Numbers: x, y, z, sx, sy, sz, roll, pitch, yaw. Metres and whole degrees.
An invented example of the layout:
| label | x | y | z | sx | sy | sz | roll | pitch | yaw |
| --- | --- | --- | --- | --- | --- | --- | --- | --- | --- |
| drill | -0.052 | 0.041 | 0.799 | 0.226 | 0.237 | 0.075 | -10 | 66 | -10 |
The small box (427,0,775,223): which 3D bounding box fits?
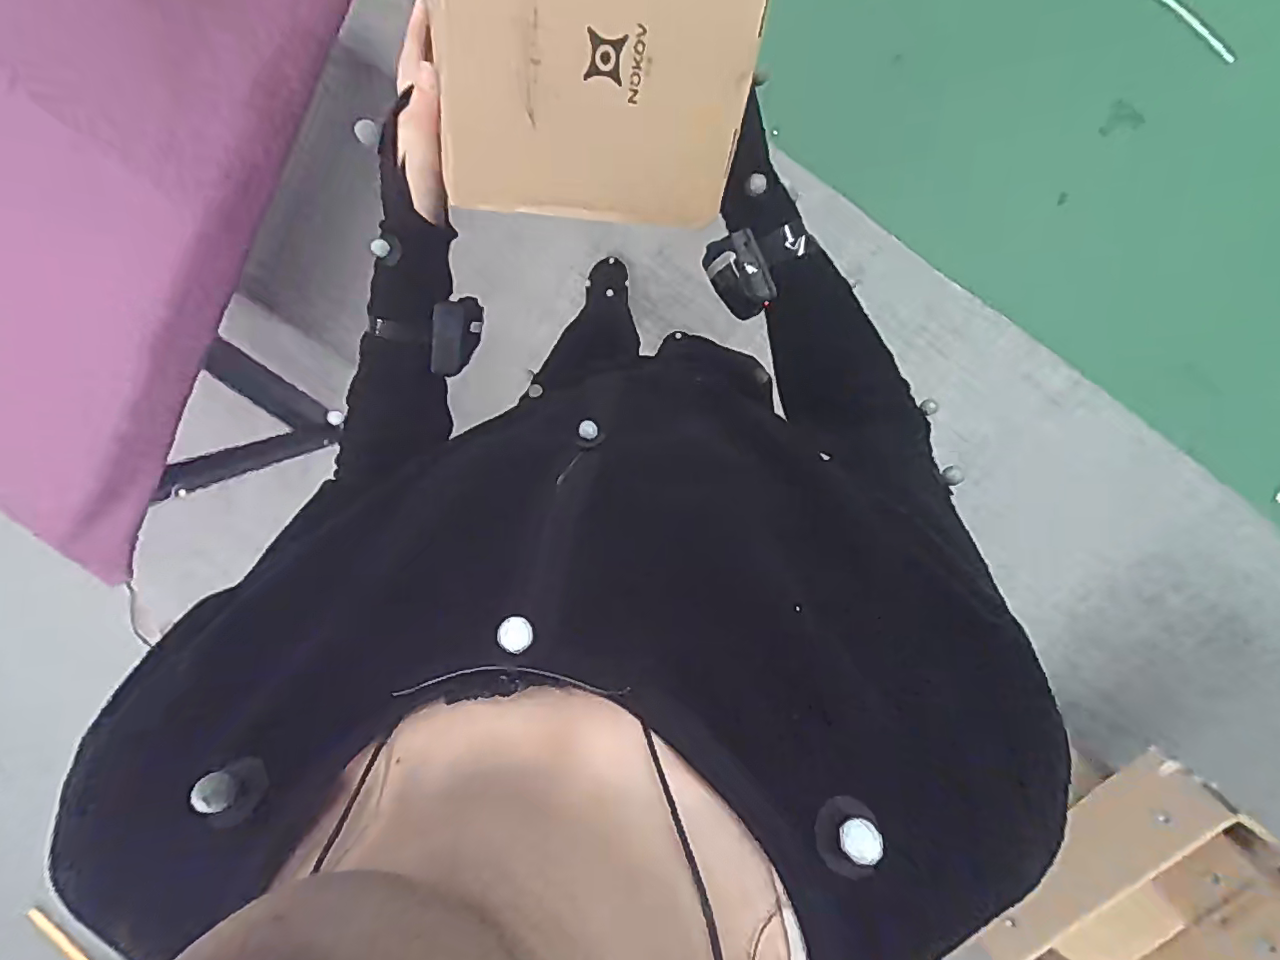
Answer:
| label | x | y | z | sx | sy | sz | roll | pitch | yaw |
| --- | --- | --- | --- | --- | --- | --- | --- | --- | --- |
| small box | -0.038 | -0.282 | 0.341 | 0.179 | 0.176 | 0.168 | -3 | 130 | -21 |
